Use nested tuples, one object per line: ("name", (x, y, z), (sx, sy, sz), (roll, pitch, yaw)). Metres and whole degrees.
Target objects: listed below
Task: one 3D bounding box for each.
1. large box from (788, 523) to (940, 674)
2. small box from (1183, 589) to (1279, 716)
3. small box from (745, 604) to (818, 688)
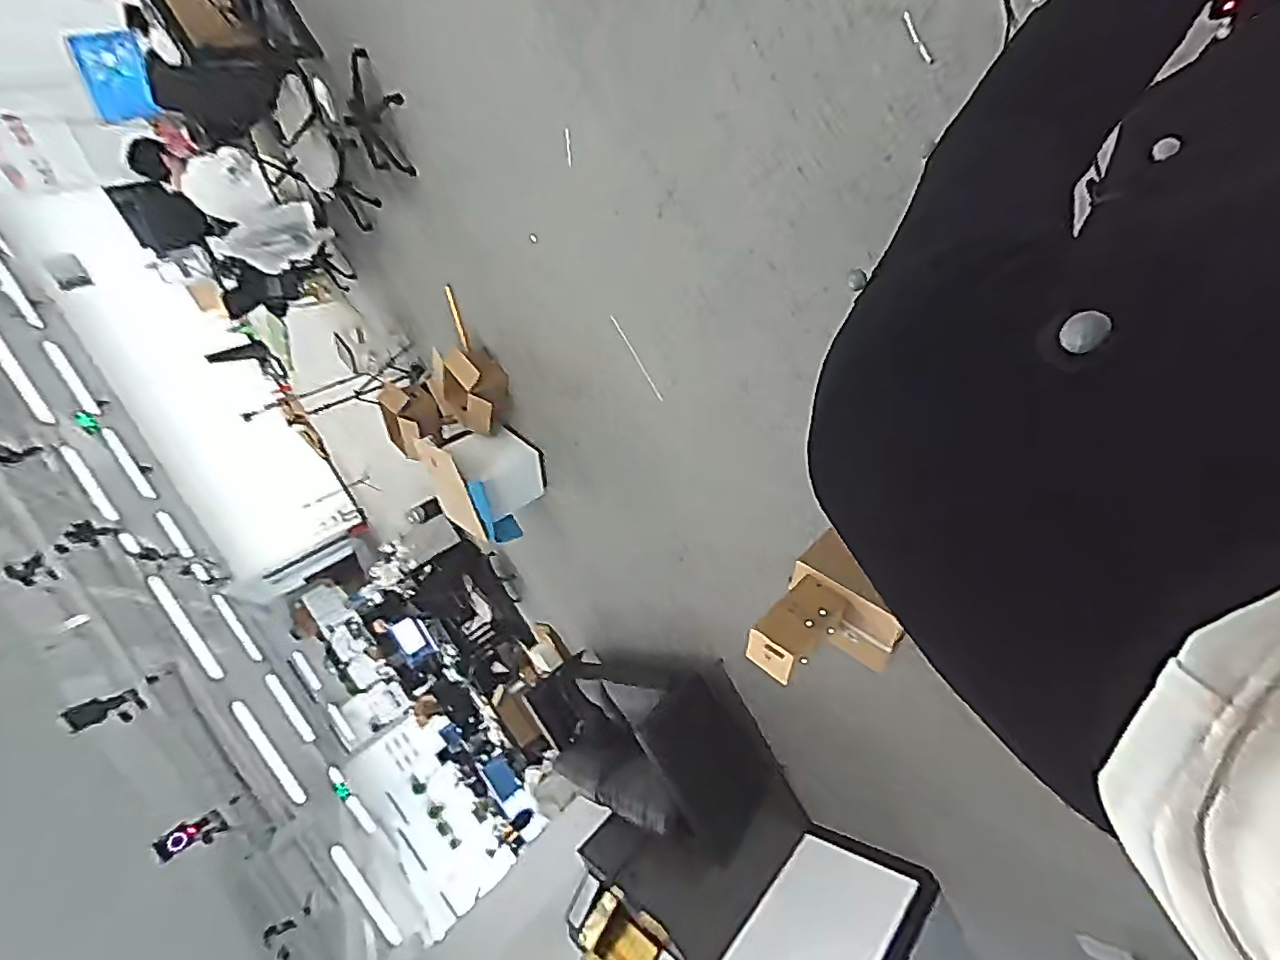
("large box", (0.821, 0.429, 2.028), (0.408, 0.320, 0.320), (30, 140, 34))
("small box", (1.259, 0.349, 1.104), (0.168, 0.176, 0.179), (-6, 111, 58))
("small box", (0.477, 0.554, 1.825), (0.168, 0.176, 0.179), (32, 140, 34))
